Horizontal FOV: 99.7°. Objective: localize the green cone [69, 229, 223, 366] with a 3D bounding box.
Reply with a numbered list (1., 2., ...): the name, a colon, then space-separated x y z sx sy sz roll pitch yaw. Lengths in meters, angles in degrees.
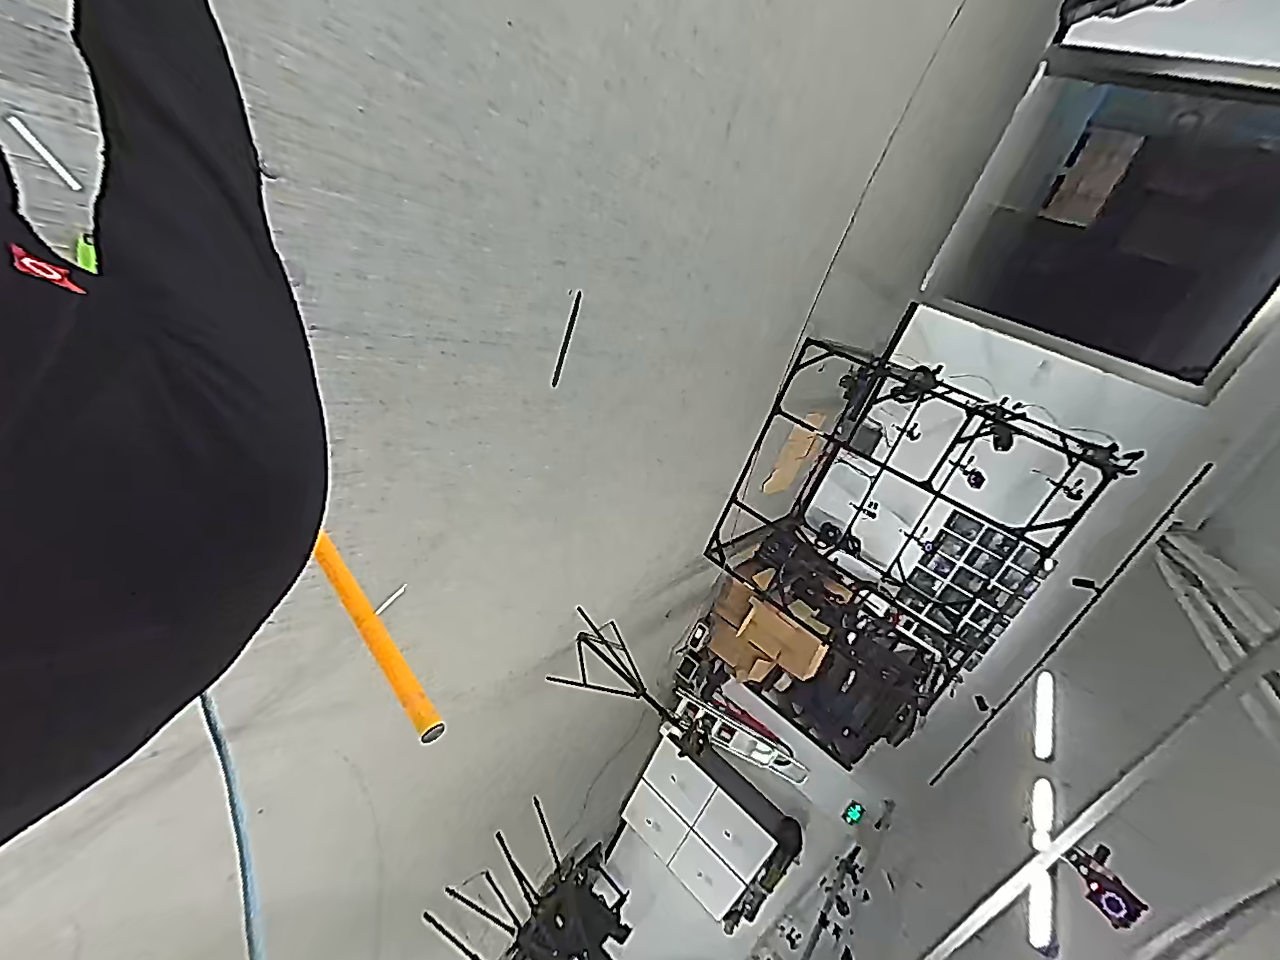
1. green cone: -0.903 -0.307 1.036 0.202 0.368 0.200 -8 127 -57
